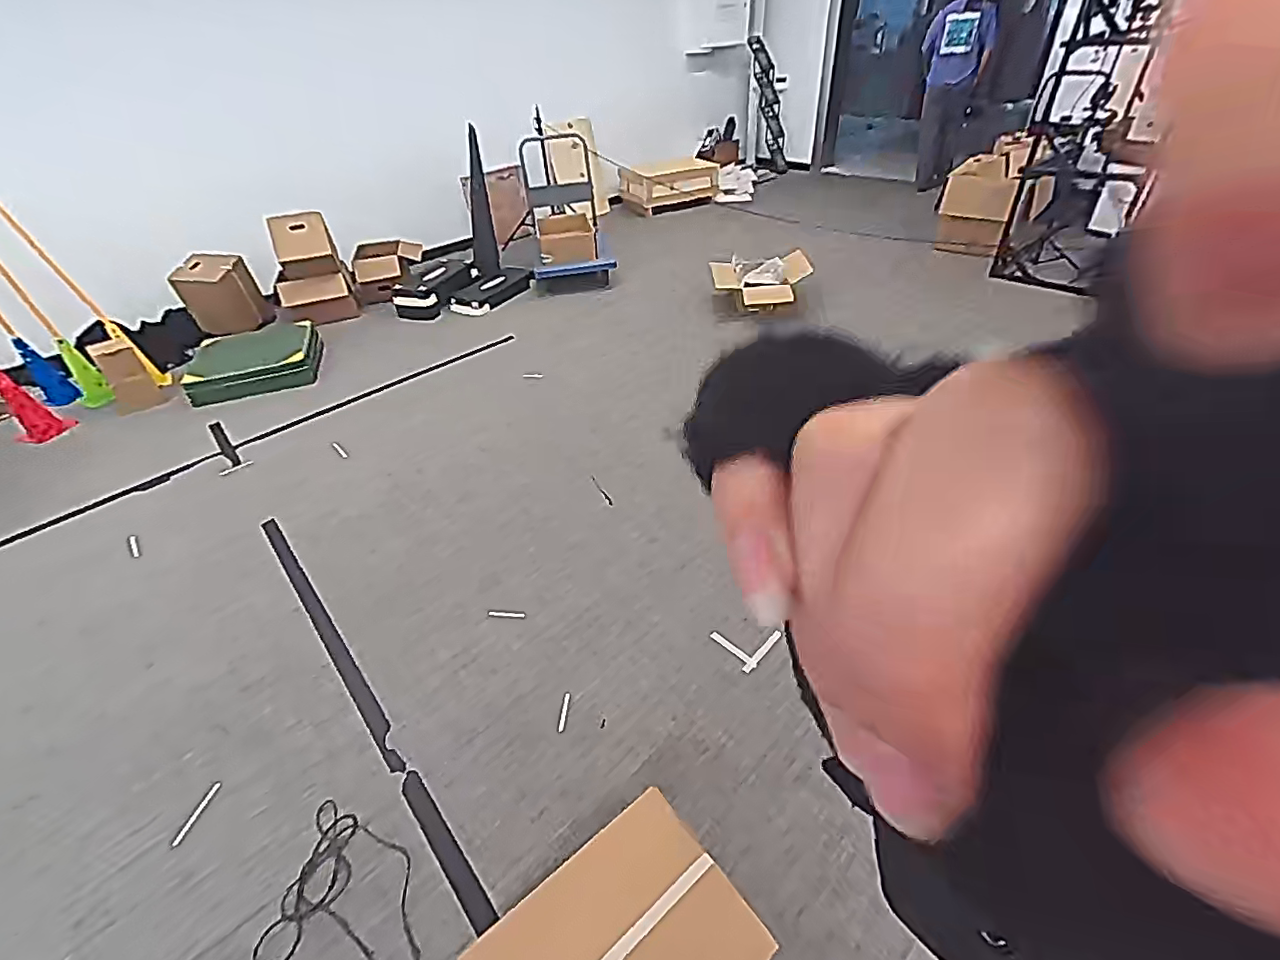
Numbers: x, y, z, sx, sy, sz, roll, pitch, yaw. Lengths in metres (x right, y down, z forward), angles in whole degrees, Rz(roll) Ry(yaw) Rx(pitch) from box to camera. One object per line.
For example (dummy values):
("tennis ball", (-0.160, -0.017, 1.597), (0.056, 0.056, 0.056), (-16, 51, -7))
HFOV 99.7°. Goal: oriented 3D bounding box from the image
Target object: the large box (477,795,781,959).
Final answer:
("large box", (-0.013, 0.865, 0.937), (0.408, 0.320, 0.320), (-29, 44, -27))
